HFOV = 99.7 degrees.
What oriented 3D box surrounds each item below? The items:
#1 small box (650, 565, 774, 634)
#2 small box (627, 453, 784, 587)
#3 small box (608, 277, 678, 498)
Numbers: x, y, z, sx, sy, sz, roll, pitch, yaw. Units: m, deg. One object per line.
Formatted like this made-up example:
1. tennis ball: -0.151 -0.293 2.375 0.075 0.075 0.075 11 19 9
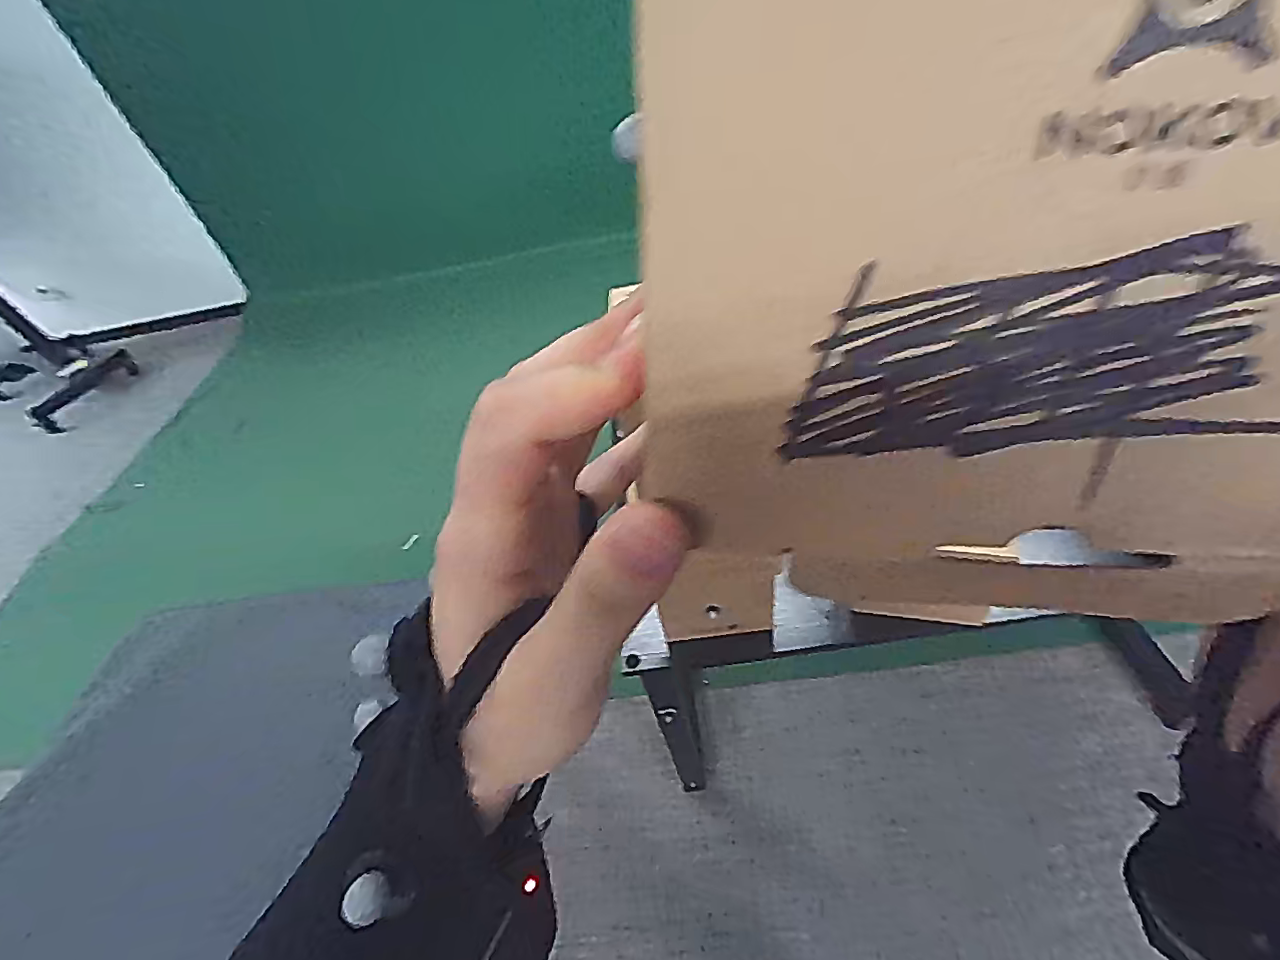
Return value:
1. small box: 0.103 0.116 0.811 0.168 0.176 0.179 -8 46 4
2. small box: 0.083 0.016 0.683 0.179 0.176 0.168 -9 46 5
3. small box: 0.065 -0.096 0.563 0.168 0.176 0.179 -8 47 6
